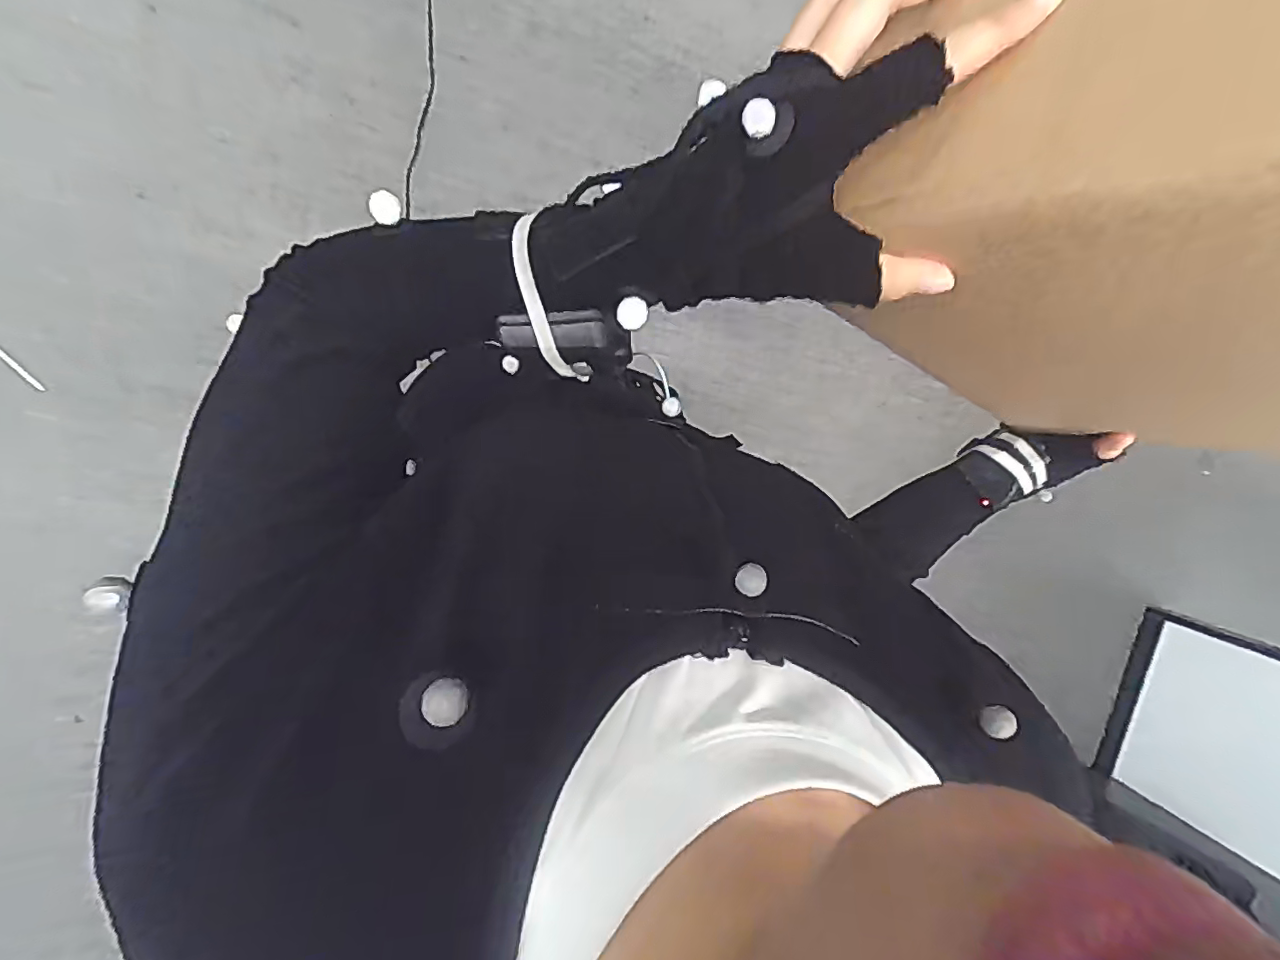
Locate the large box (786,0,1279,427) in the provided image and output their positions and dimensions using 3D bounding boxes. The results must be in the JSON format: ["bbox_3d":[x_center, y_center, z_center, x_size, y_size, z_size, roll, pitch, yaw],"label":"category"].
[{"bbox_3d":[0.338,-0.214,0.276,0.408,0.320,0.320,11,93,-39],"label":"large box"}]
